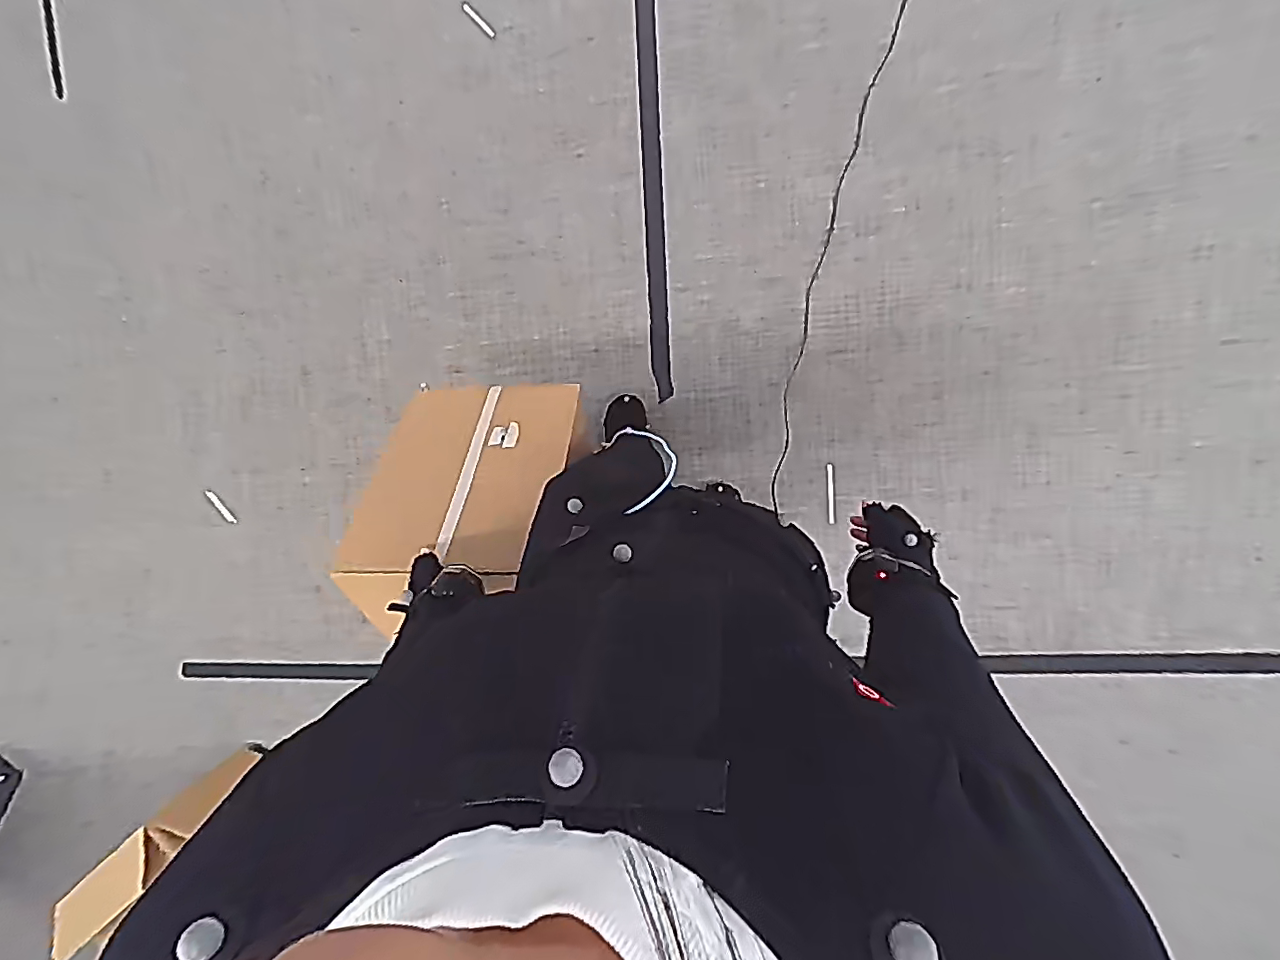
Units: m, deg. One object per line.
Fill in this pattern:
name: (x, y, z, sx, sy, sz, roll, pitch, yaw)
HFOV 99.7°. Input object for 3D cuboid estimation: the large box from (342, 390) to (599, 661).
large box: (-0.262, 0.083, 1.005, 0.320, 0.408, 0.320, -1, 138, 5)
